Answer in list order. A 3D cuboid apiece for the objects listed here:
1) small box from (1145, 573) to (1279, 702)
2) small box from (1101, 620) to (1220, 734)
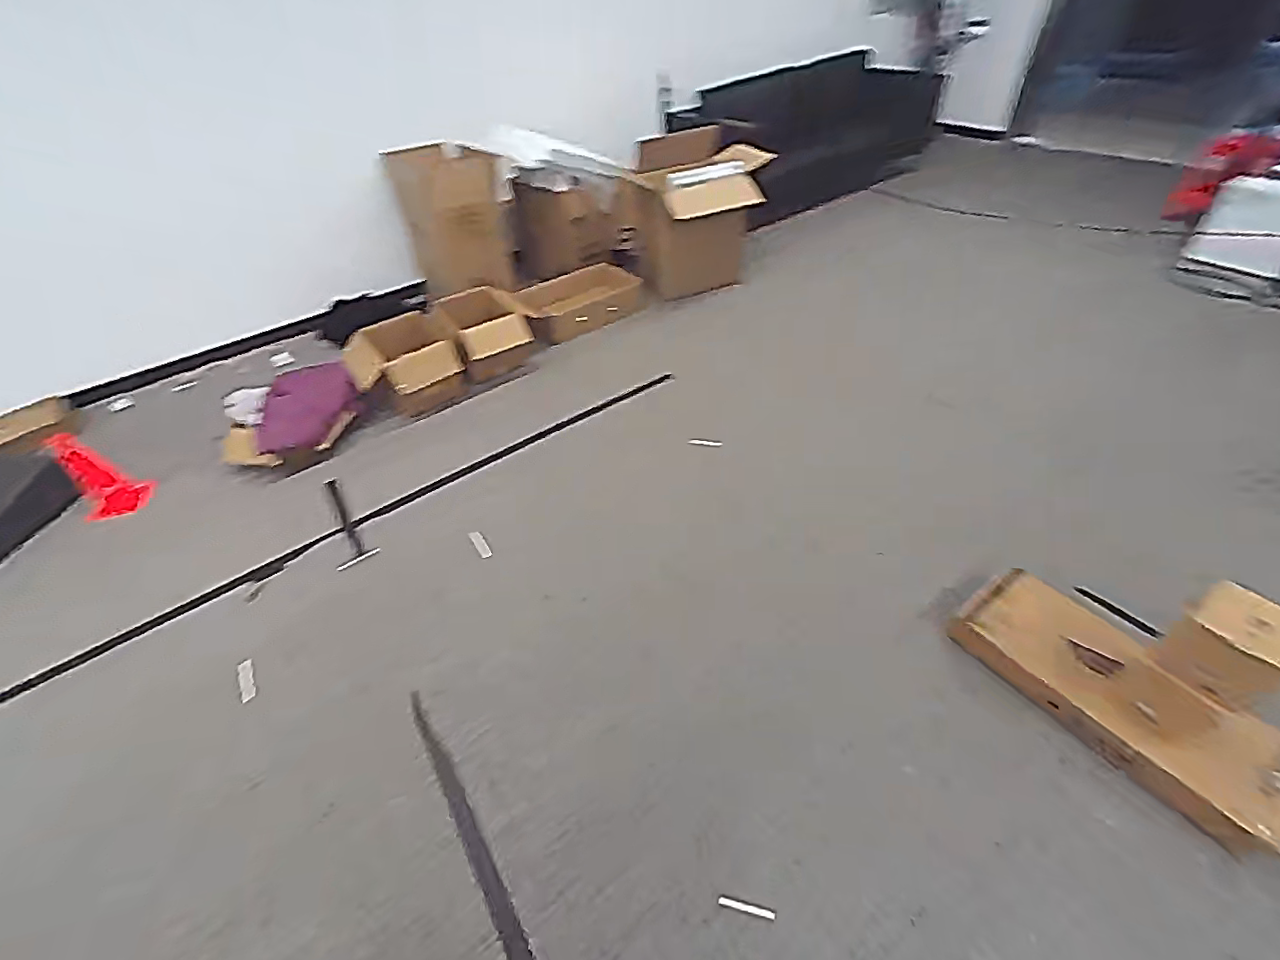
[{"bbox_3d":[1.271,0.344,1.183,0.179,0.176,0.168,-30,48,-23],"label":"small box"},{"bbox_3d":[1.267,0.467,1.296,0.179,0.176,0.168,-27,47,-20],"label":"small box"}]
